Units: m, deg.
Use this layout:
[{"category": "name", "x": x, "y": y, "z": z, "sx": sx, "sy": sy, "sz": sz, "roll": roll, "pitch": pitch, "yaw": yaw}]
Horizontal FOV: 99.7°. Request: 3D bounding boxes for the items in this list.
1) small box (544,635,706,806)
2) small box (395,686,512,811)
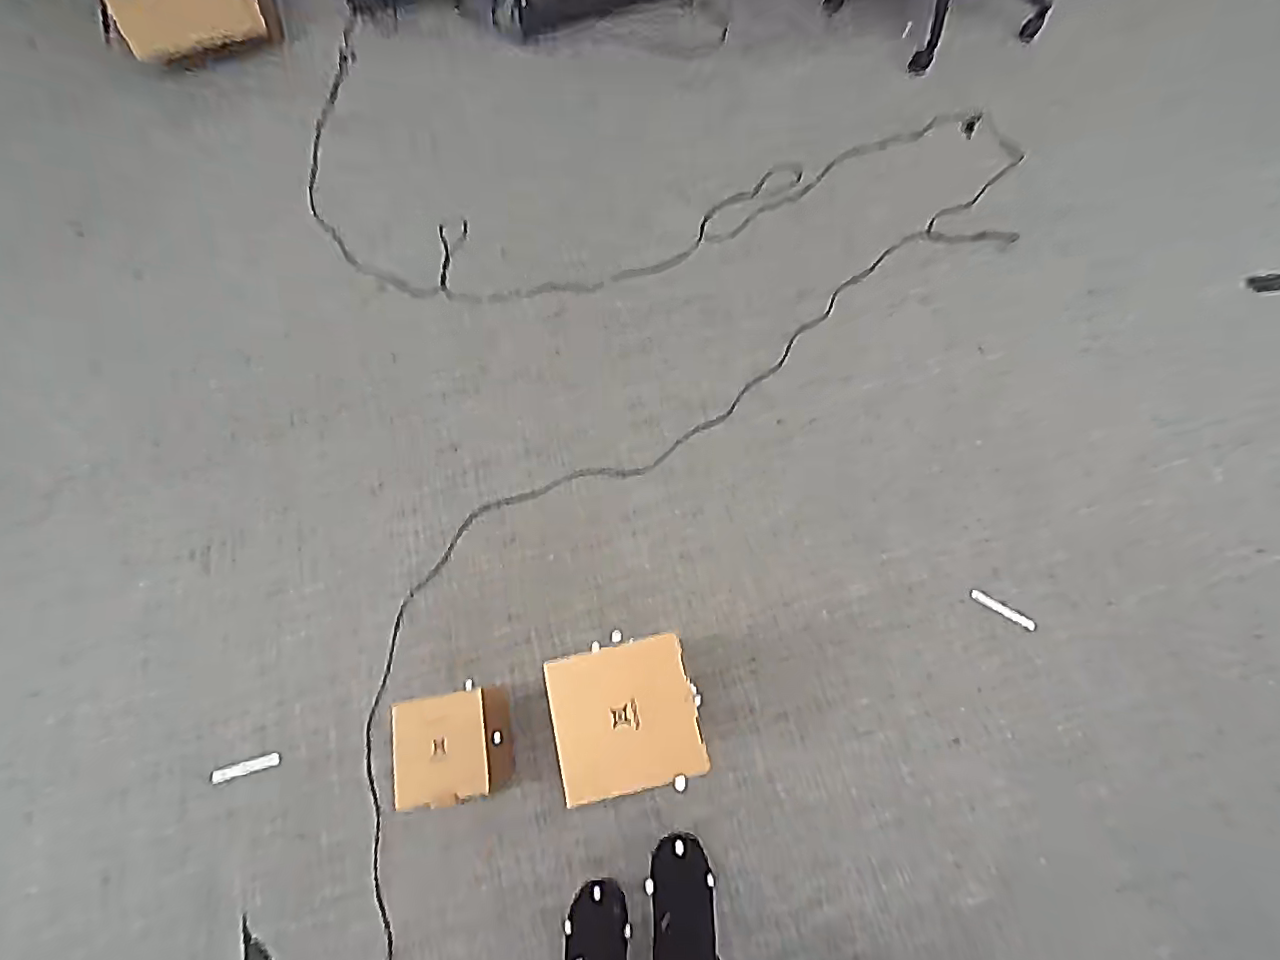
[{"category": "small box", "x": -0.018, "y": 0.317, "z": 0.736, "sx": 0.179, "sy": 0.176, "sz": 0.168, "roll": -13, "pitch": 72, "yaw": -3}, {"category": "small box", "x": -0.350, "y": 0.503, "z": 1.036, "sx": 0.168, "sy": 0.176, "sz": 0.179, "roll": -10, "pitch": 72, "yaw": -1}]
